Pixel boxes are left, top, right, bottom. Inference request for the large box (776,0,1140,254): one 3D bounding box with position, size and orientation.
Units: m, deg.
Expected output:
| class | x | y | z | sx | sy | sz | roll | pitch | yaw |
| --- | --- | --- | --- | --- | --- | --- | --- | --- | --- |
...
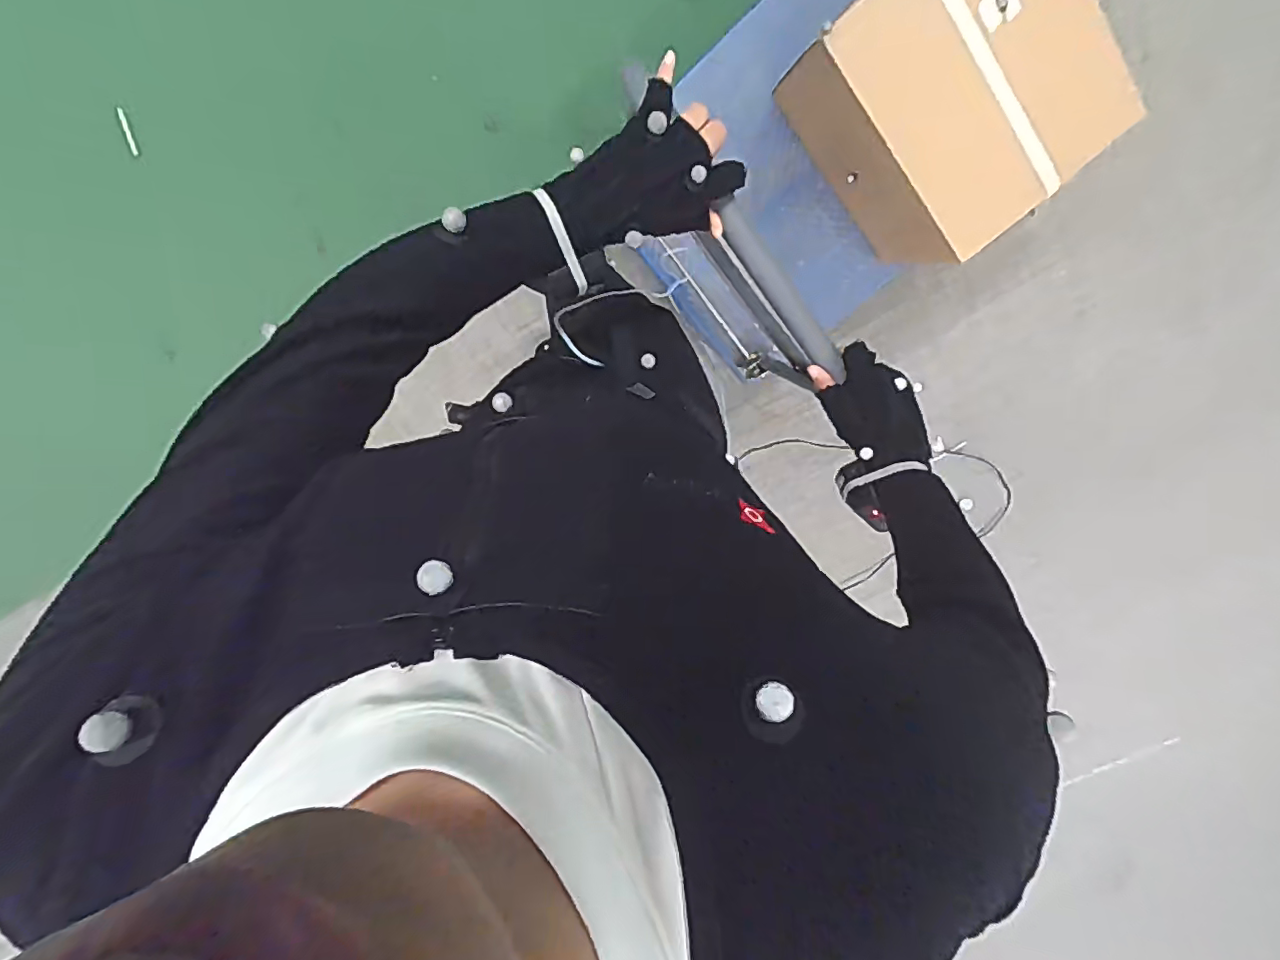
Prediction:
| class | x | y | z | sx | sy | sz | roll | pitch | yaw |
| --- | --- | --- | --- | --- | --- | --- | --- | --- | --- |
| large box | 0.501 | -0.652 | 0.924 | 0.320 | 0.320 | 0.408 | -40 | 107 | 14 |
